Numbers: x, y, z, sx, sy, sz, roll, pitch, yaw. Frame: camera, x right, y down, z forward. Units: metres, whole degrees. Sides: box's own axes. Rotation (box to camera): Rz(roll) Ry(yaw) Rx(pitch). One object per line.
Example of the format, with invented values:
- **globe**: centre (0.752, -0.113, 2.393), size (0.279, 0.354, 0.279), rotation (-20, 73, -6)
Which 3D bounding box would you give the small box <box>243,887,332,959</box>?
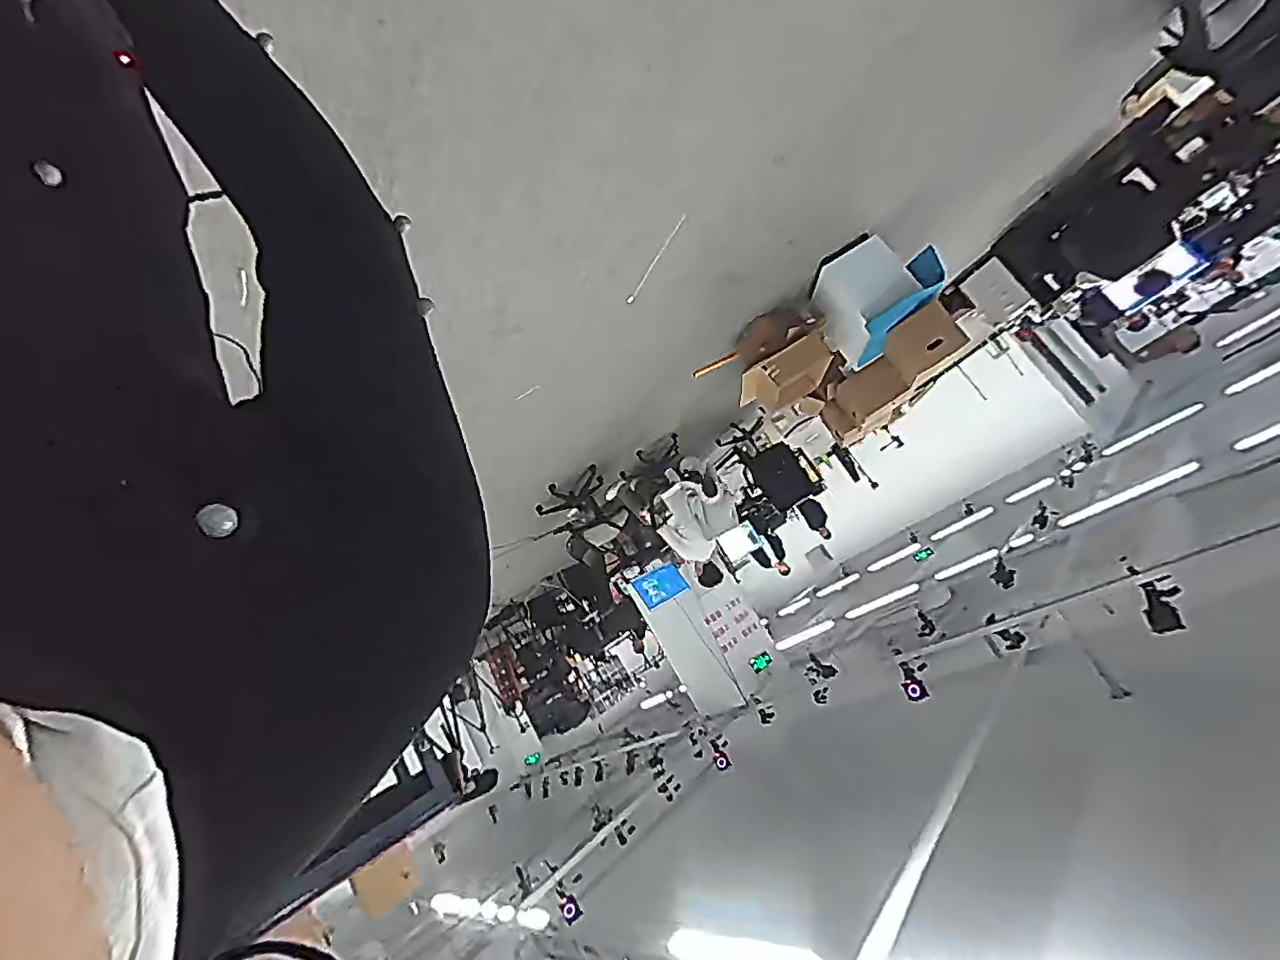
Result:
- **small box**: centre (-1.056, 1.363, 1.612), size (0.179, 0.176, 0.168), rotation (-19, 163, -46)
